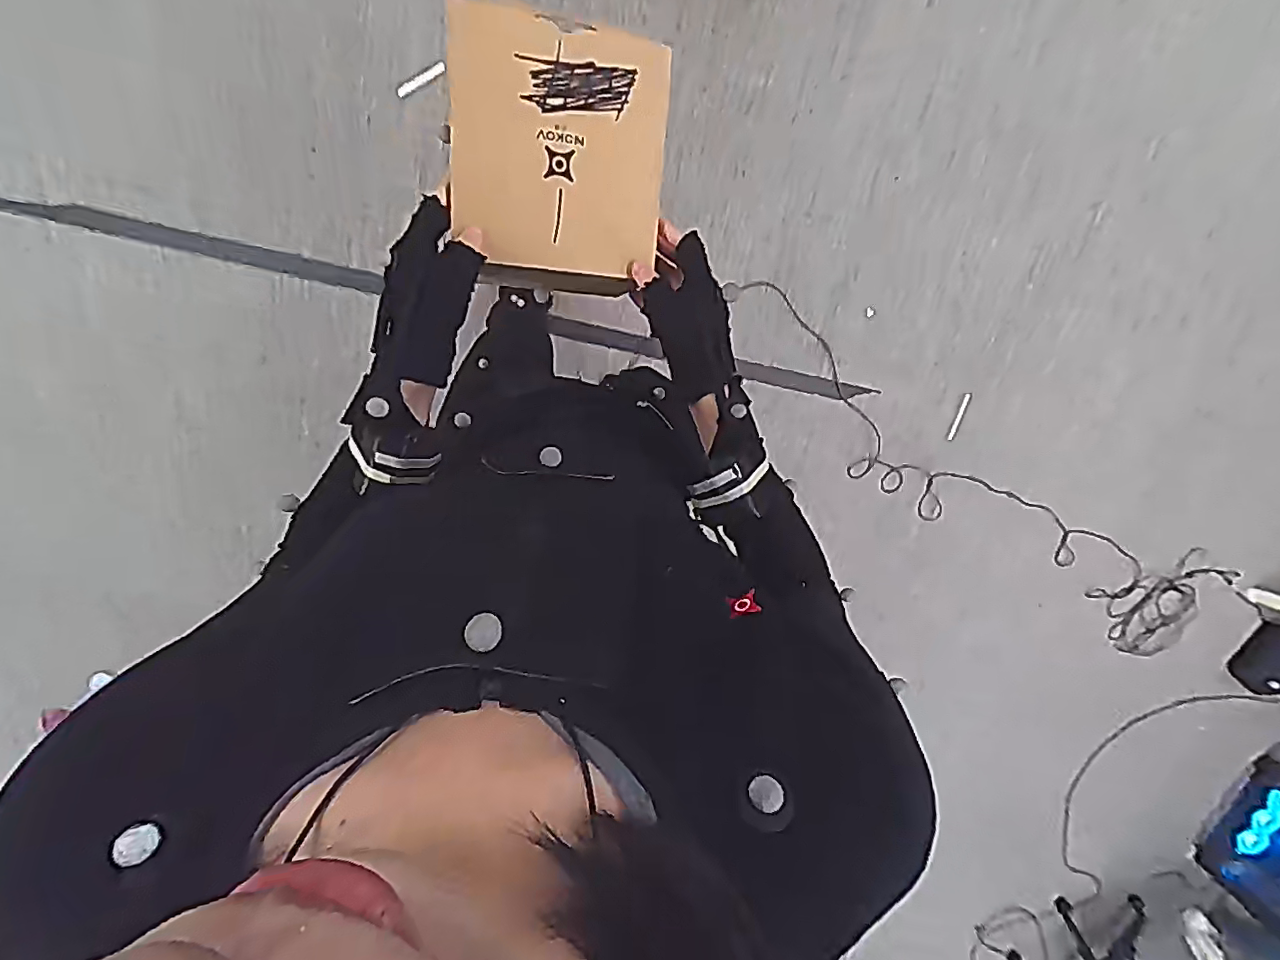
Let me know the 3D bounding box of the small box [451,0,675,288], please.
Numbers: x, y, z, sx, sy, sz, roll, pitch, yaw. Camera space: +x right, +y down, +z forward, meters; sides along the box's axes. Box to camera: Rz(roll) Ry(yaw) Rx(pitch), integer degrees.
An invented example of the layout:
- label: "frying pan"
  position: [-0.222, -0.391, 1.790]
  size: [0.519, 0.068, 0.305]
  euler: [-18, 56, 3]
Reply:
- label: "small box"
  position: [-0.076, -0.282, 0.491]
  size: [0.168, 0.176, 0.179]
  euler: [2, 104, -13]
